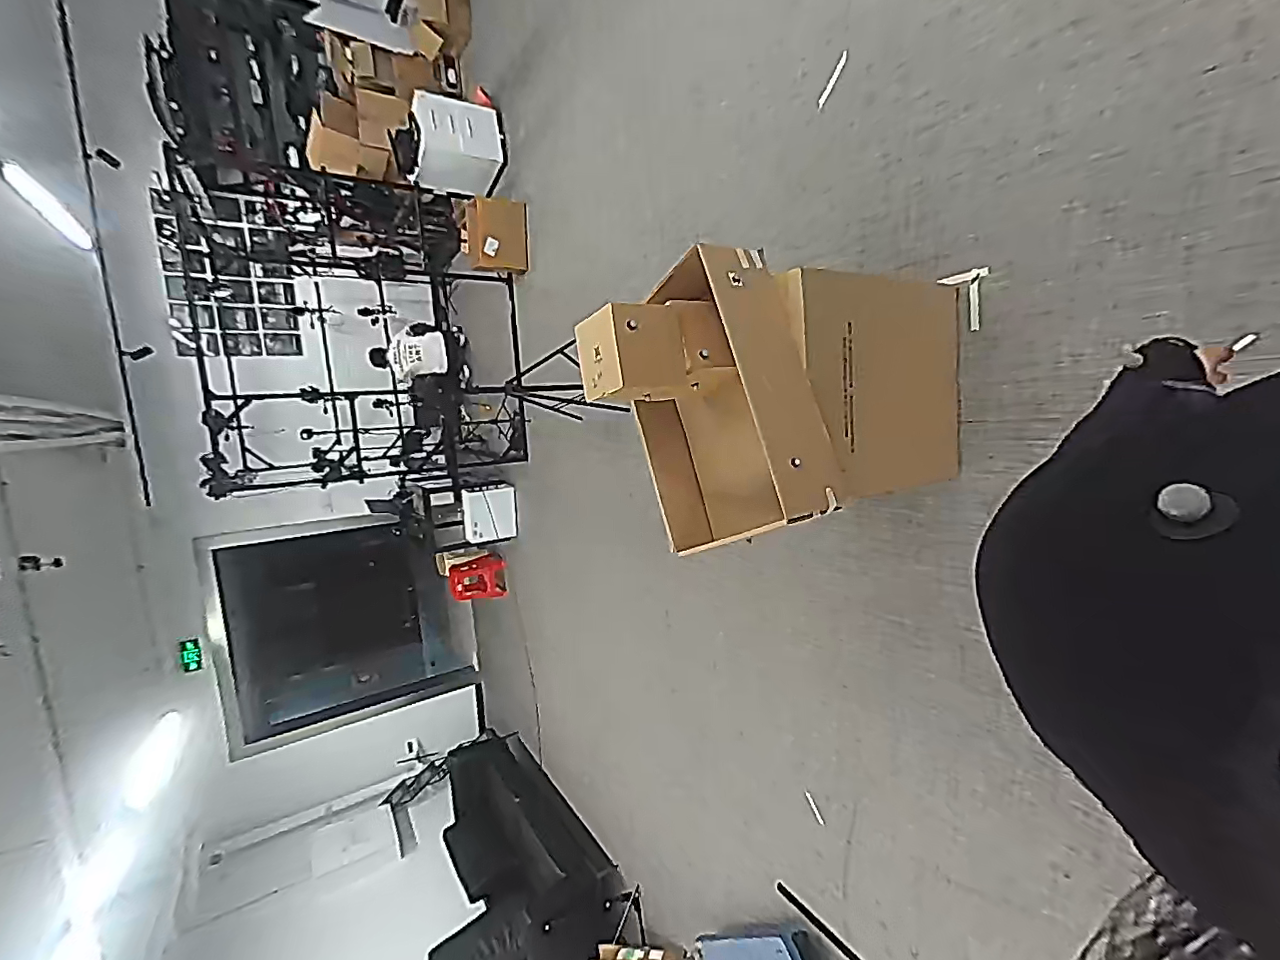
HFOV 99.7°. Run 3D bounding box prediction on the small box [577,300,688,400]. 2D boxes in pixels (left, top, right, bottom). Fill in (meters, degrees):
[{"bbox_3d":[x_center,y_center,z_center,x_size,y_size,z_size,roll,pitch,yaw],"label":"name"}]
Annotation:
[{"bbox_3d":[-0.016,-0.278,1.180,0.168,0.176,0.179,-7,93,58],"label":"small box"}]
